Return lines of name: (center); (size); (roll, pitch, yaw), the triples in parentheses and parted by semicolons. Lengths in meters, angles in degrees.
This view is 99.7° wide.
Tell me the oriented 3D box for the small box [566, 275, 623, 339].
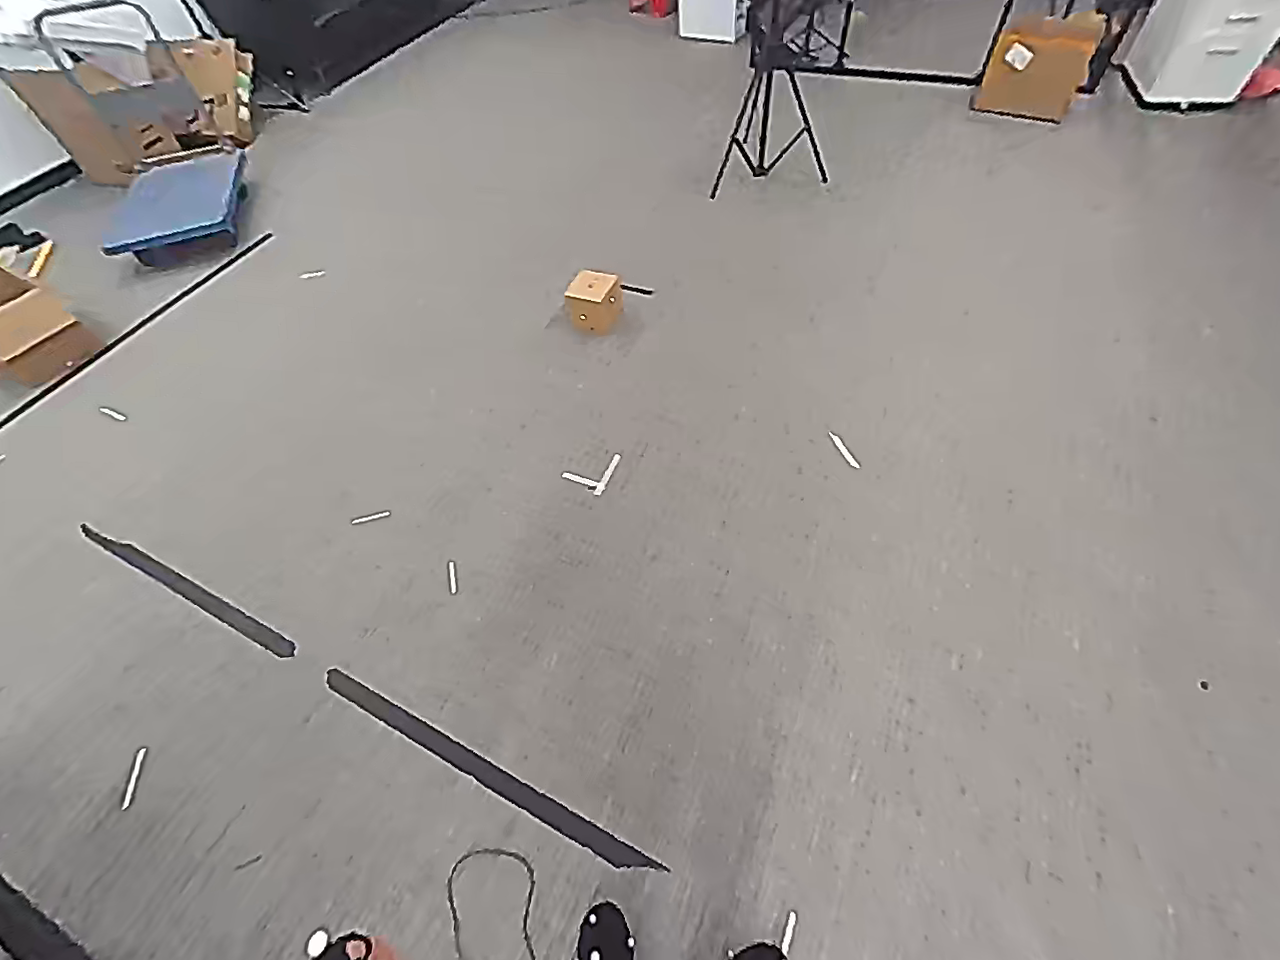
small box: (-0.181, -0.709, 2.224); (0.168, 0.176, 0.179); (17, 58, 17)
